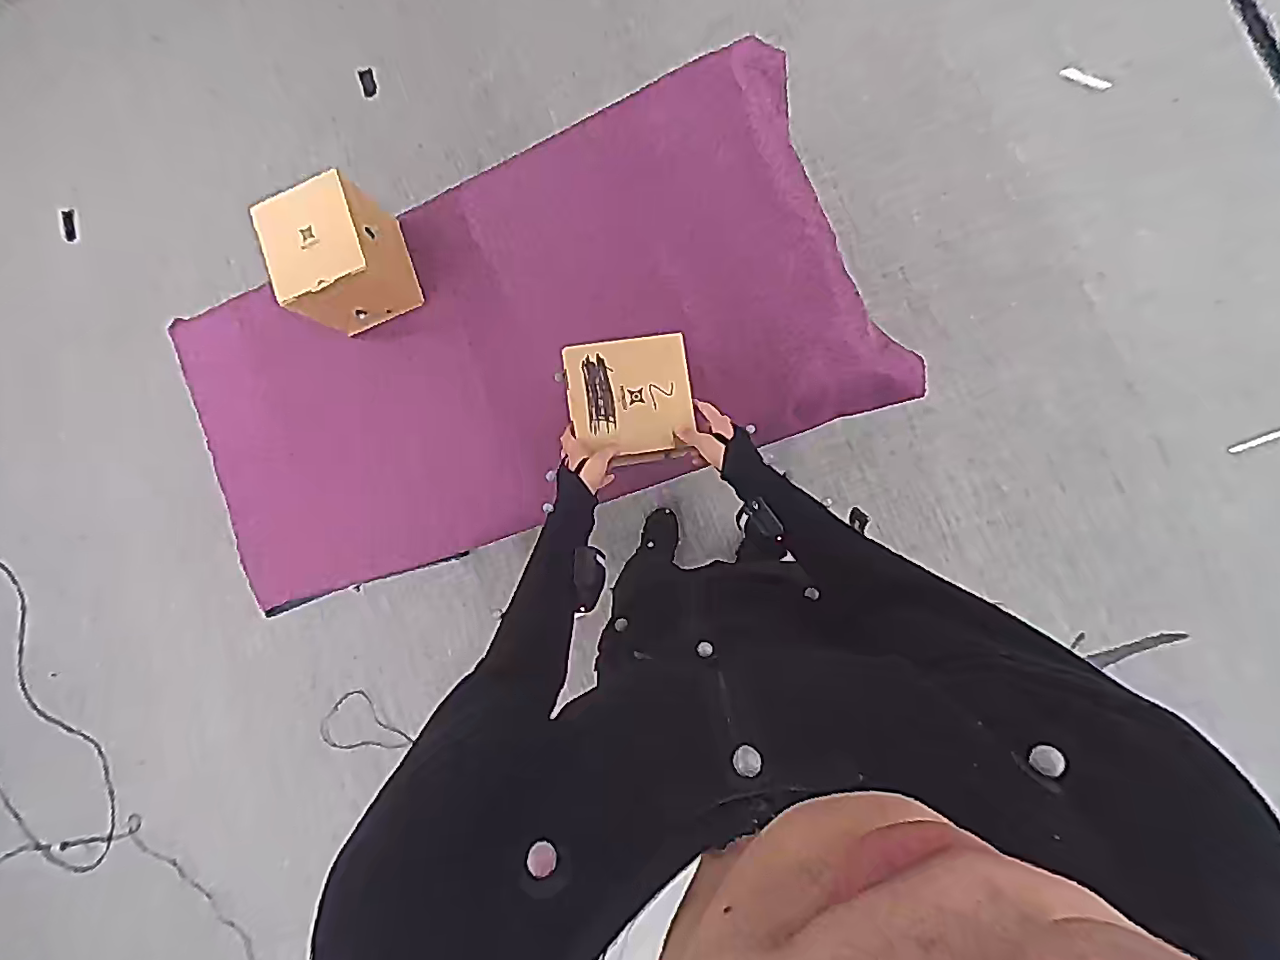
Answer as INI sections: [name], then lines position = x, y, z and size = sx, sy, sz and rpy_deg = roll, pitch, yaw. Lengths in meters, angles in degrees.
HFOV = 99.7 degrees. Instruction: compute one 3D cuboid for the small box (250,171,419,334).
[small box]
position = -0.520, -0.383, 0.941
size = 0.168, 0.176, 0.179
rpy_deg = -20, 86, 7
